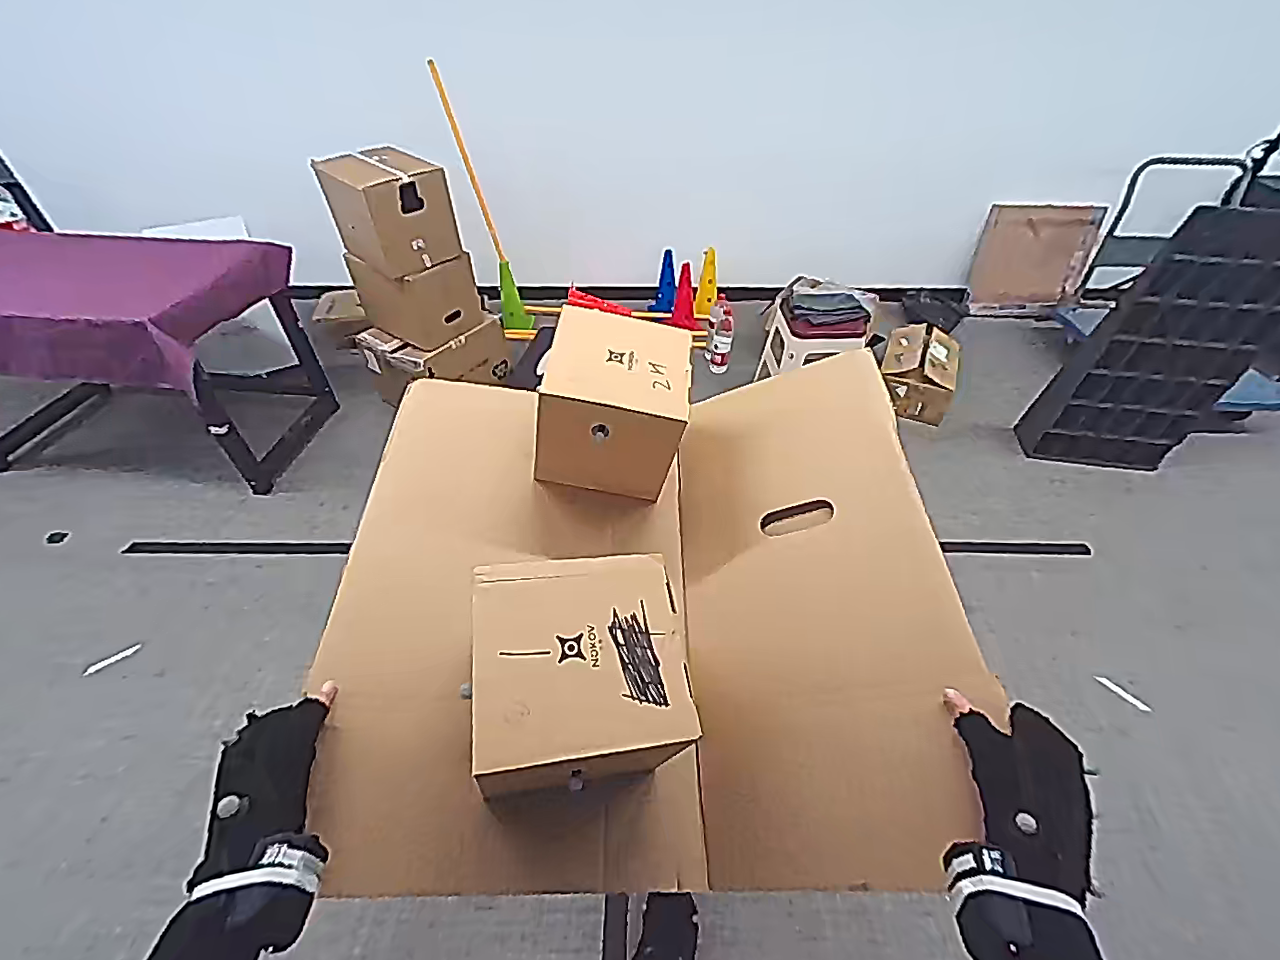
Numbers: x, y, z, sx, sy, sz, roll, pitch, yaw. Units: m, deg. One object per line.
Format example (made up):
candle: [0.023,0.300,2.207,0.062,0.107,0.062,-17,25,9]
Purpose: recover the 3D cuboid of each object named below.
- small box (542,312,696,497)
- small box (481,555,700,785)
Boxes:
small box: [-0.032,-0.095,0.738,0.179,0.176,0.168,12,53,-6]
small box: [-0.061,0.186,0.527,0.179,0.176,0.168,-2,56,-14]
